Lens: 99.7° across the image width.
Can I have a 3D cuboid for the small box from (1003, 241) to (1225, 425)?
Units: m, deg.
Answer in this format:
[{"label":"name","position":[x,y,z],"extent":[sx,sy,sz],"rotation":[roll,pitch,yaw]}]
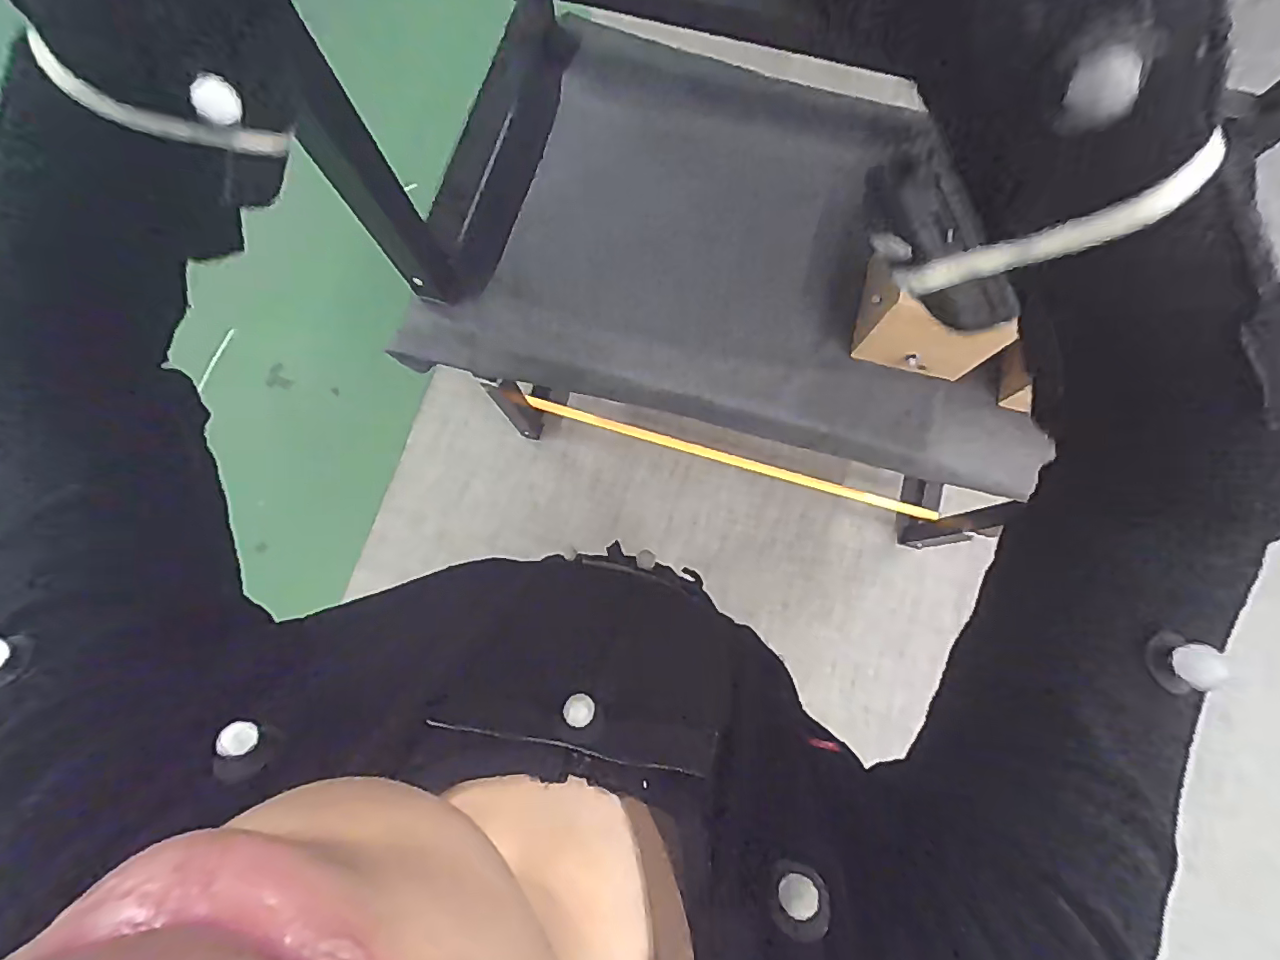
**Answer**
[{"label":"small box","position":[0.649,-0.194,0.760],"extent":[0.168,0.176,0.179],"rotation":[14,78,4]}]
